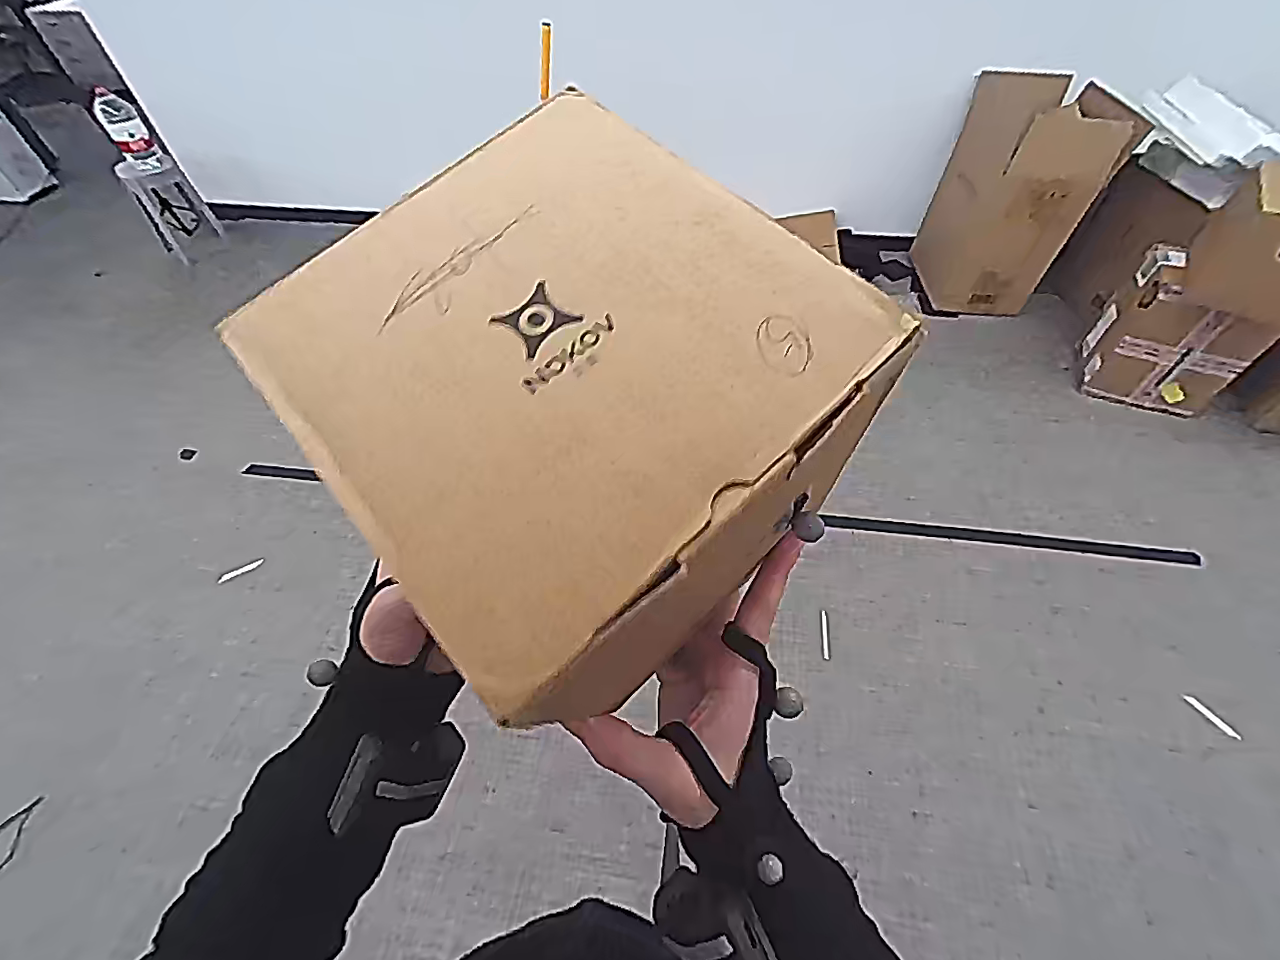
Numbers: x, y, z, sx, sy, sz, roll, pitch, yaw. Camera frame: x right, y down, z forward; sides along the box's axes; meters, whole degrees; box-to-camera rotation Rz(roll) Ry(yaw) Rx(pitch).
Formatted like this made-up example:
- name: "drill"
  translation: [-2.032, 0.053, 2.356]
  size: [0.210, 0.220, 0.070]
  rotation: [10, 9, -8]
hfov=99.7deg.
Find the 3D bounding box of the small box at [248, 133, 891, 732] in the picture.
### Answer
- name: "small box"
  translation: [-0.024, -0.011, 0.263]
  size: [0.168, 0.176, 0.179]
  rotation: [-43, 69, -11]
